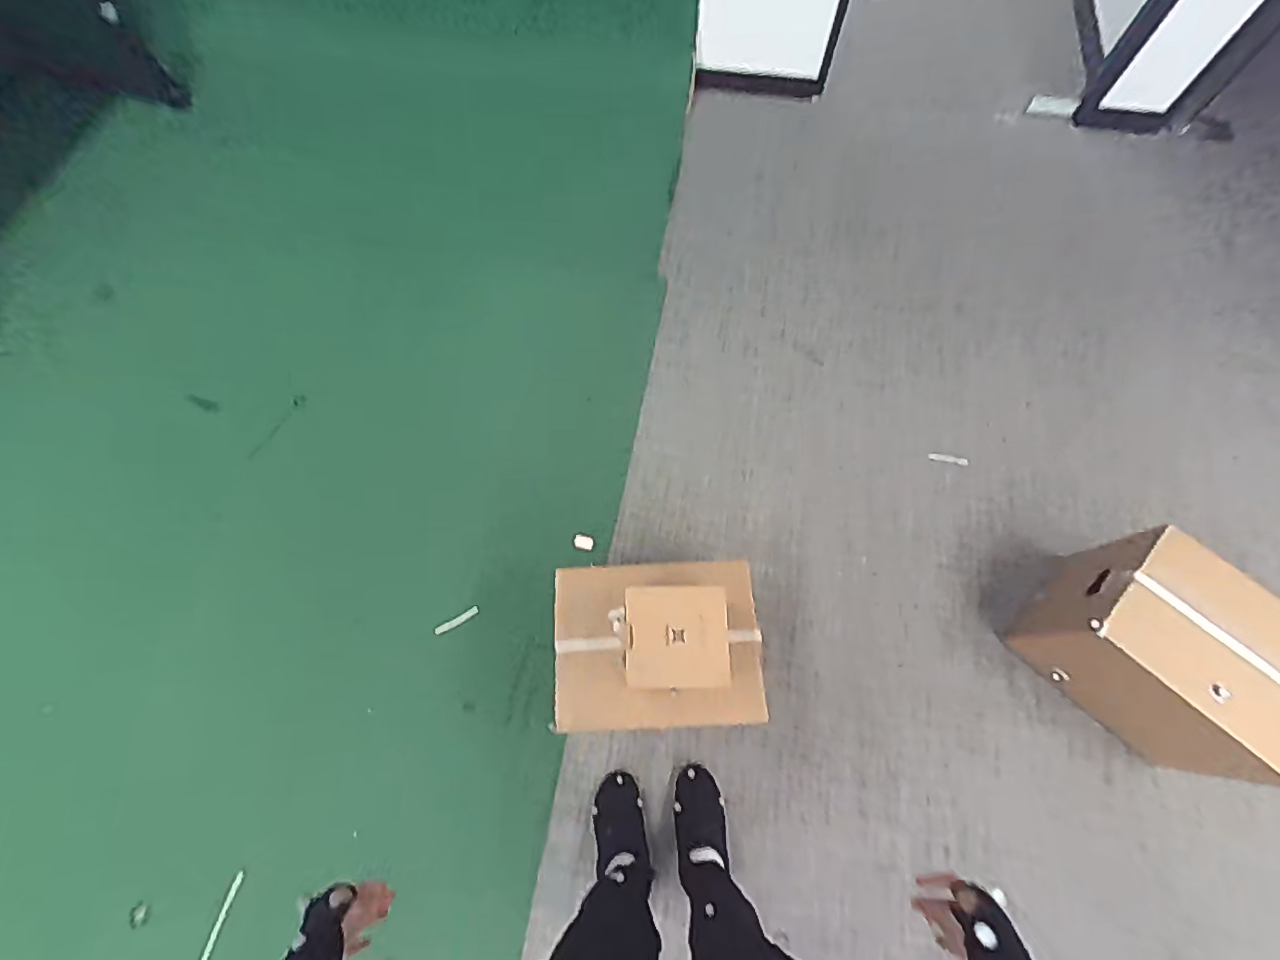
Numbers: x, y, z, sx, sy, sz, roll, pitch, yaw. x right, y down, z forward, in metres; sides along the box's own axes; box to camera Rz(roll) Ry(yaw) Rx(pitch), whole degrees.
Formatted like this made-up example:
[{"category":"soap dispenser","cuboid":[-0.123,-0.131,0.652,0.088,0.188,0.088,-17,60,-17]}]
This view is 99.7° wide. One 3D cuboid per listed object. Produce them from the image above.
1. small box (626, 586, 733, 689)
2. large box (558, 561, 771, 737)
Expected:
[{"category":"small box","cuboid":[0.067,0.286,0.972,0.179,0.176,0.168,-1,71,1]},{"category":"large box","cuboid":[0.046,0.377,1.201,0.408,0.320,0.320,-4,68,1]}]
